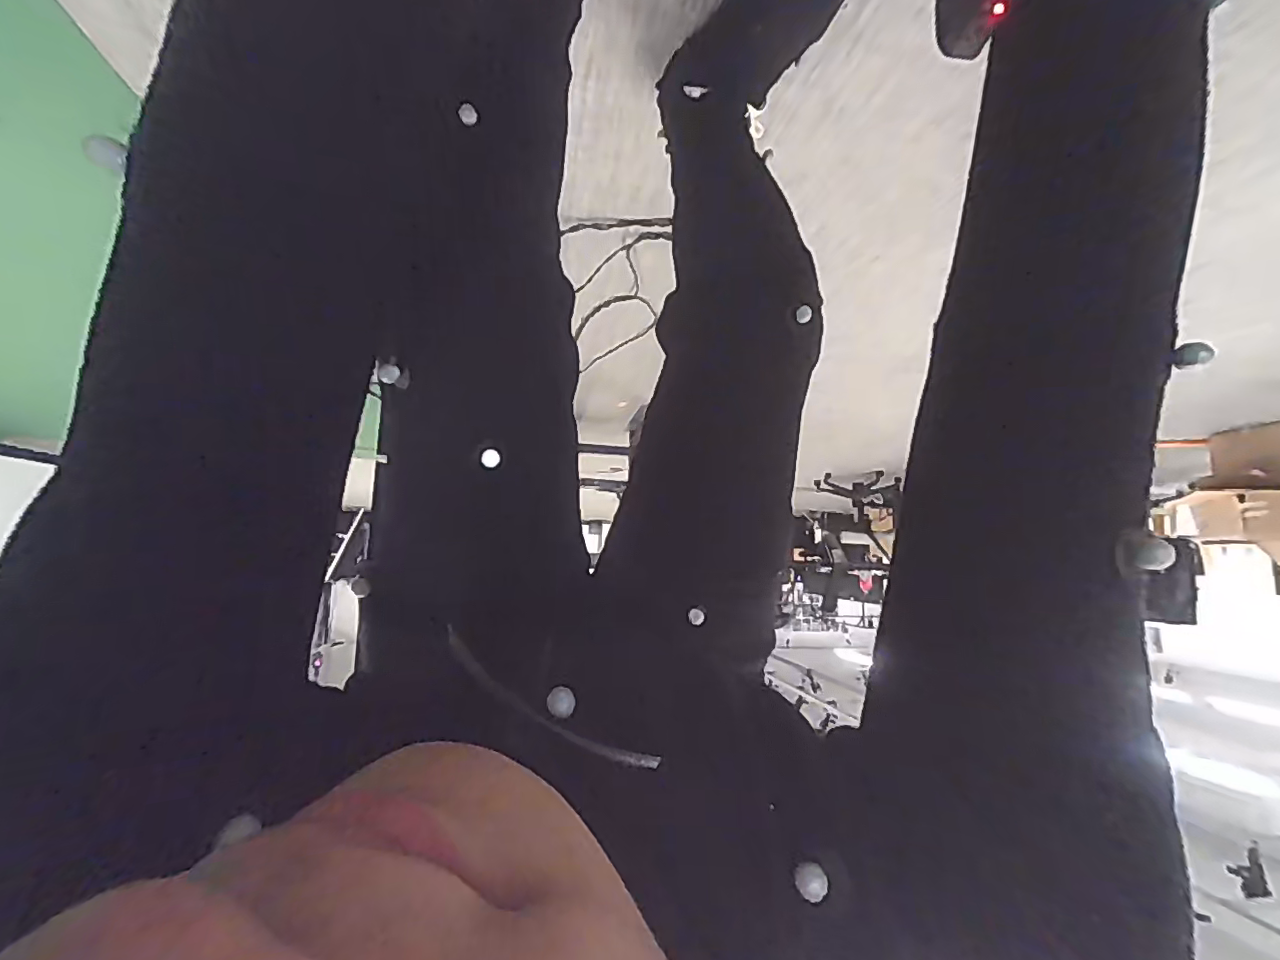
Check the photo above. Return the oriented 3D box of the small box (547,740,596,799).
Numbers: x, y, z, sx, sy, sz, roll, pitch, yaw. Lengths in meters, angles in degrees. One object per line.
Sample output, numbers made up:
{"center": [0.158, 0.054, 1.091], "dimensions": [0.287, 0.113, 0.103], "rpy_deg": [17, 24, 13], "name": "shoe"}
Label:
{"center": [-0.285, 1.192, 2.240], "dimensions": [0.179, 0.176, 0.168], "rpy_deg": [5, 172, -16], "name": "small box"}
